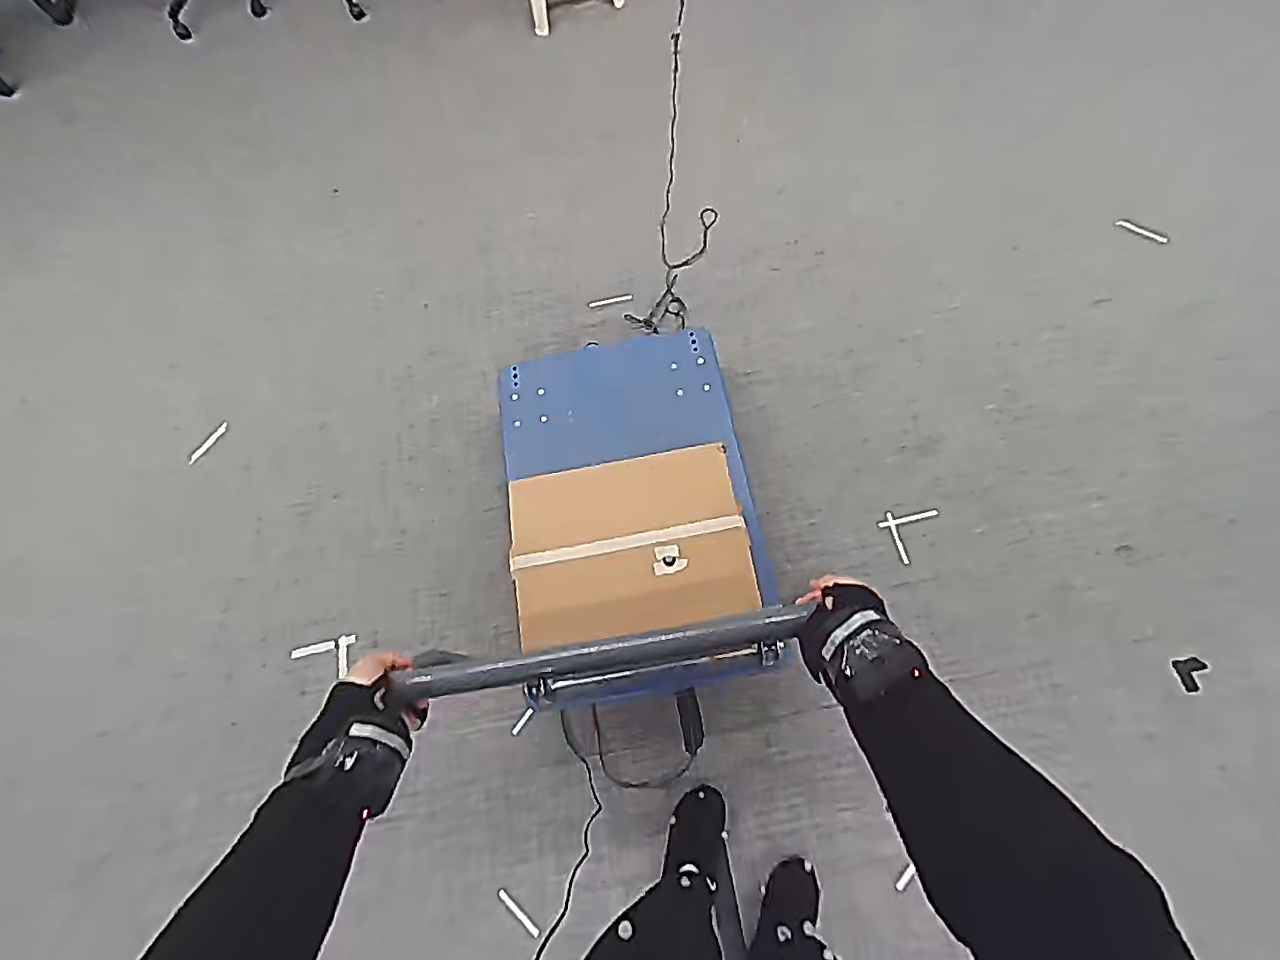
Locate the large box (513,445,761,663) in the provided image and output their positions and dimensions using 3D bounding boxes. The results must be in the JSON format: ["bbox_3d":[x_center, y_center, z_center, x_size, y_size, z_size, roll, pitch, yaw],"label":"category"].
[{"bbox_3d":[-0.007,0.167,1.088,0.408,0.320,0.320,-11,69,1],"label":"large box"}]
